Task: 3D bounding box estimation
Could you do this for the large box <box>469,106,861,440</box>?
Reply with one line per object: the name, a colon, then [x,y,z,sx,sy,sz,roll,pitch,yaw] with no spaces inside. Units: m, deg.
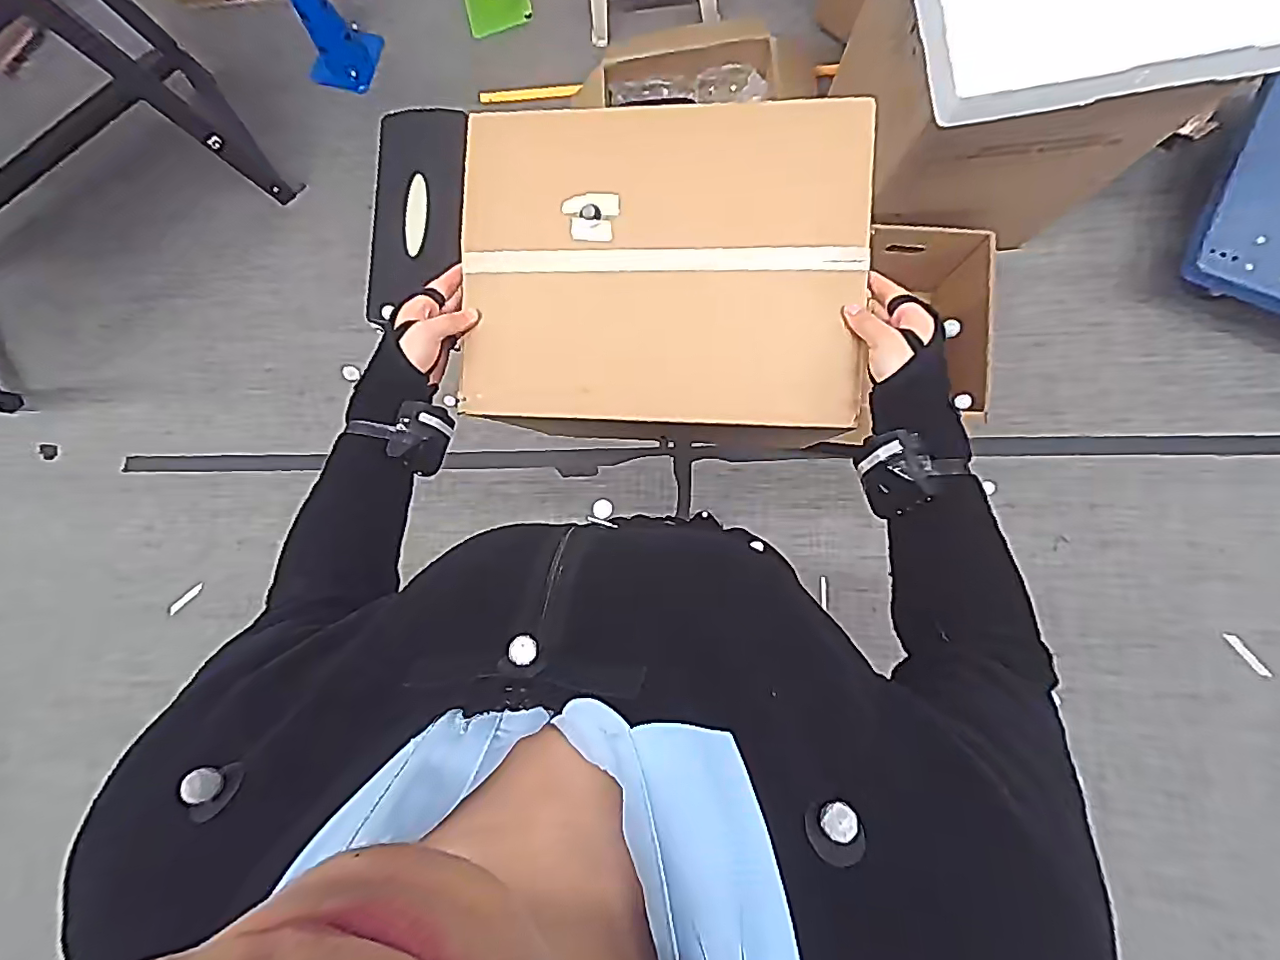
large box: [0.039,-0.215,0.699,0.408,0.320,0.320,2,89,8]
